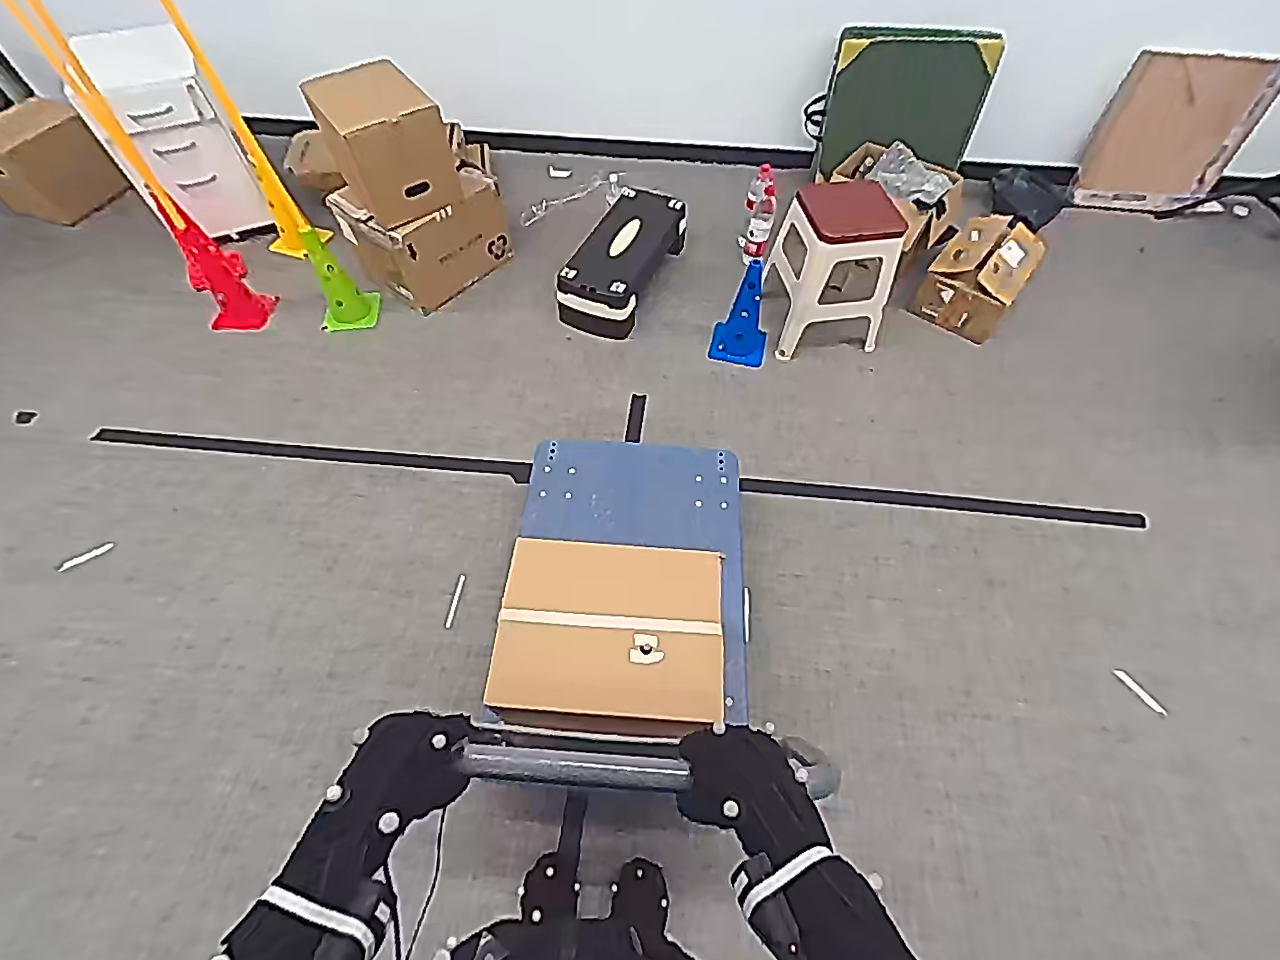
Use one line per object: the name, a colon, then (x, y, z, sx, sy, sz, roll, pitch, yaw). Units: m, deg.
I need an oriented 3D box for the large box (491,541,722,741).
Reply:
large box: (-0.058, 0.343, 1.124, 0.408, 0.320, 0.320, 5, 58, 0)
